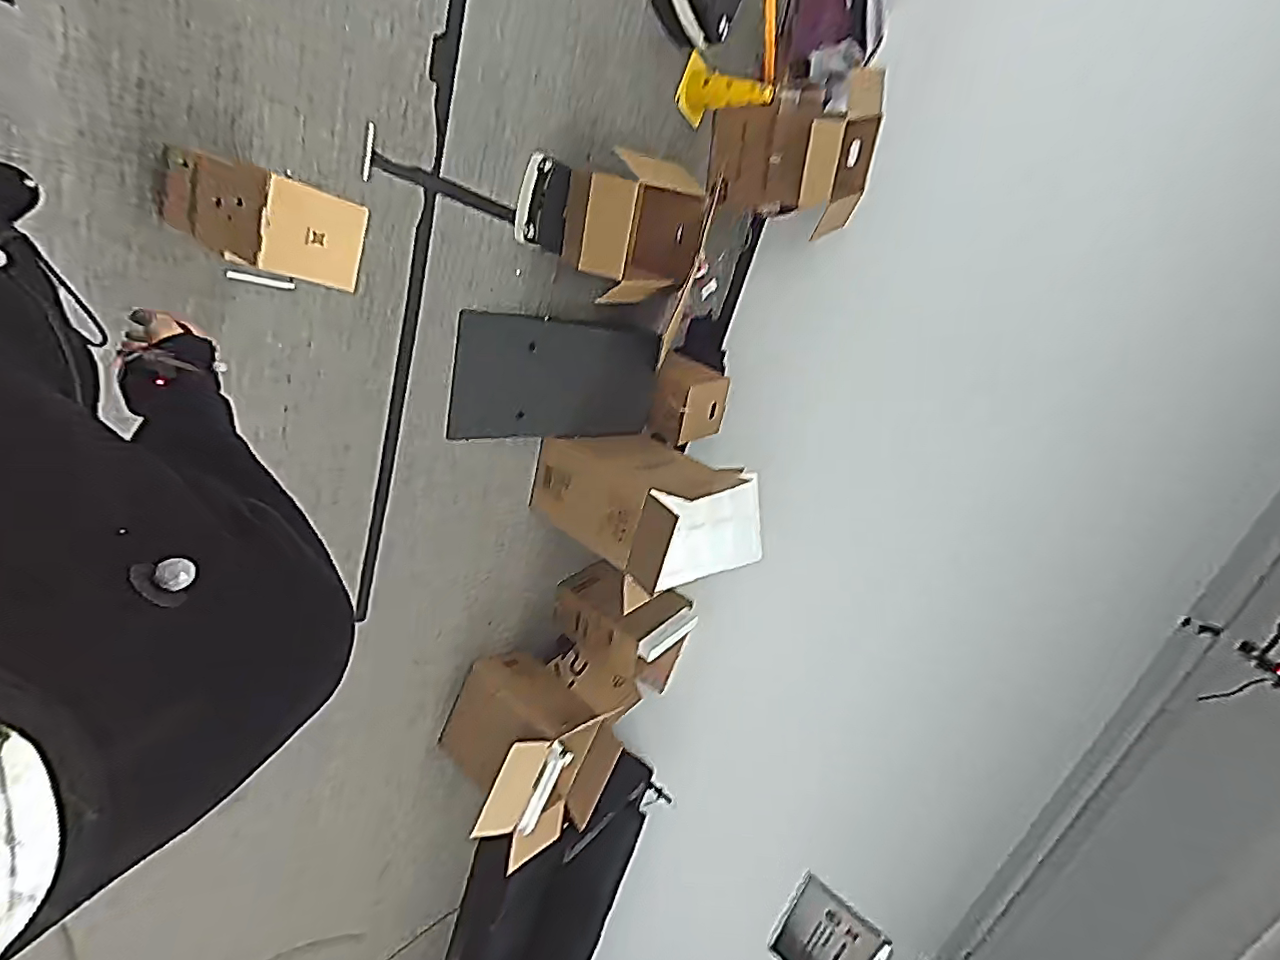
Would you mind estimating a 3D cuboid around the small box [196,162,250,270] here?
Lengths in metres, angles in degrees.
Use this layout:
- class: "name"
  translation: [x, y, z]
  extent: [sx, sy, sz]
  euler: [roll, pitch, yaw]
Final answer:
- class: "small box"
  translation: [-0.794, -0.535, 1.126]
  extent: [0.168, 0.176, 0.179]
  euler: [-8, 122, -55]

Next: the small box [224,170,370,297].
- class: "small box"
  translation: [-0.664, -0.476, 1.047]
  extent: [0.179, 0.176, 0.168]
  euler: [-4, 119, -55]
